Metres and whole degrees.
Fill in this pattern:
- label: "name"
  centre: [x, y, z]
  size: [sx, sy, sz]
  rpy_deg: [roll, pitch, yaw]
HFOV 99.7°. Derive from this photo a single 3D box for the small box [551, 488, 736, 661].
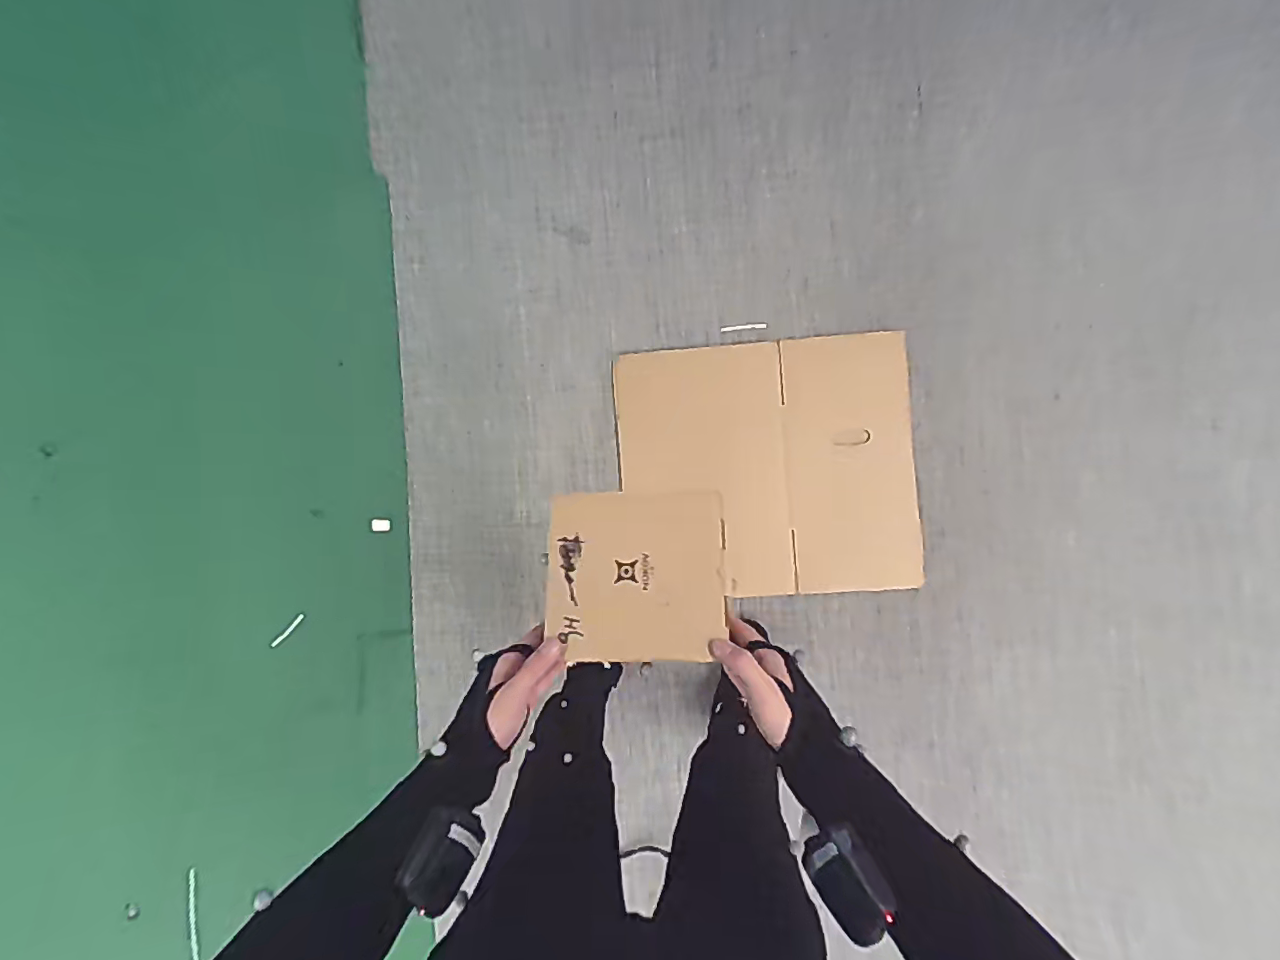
- label: "small box"
  centre: [0.010, 0.112, 0.605]
  size: [0.179, 0.176, 0.168]
  rpy_deg: [0, 71, 5]
